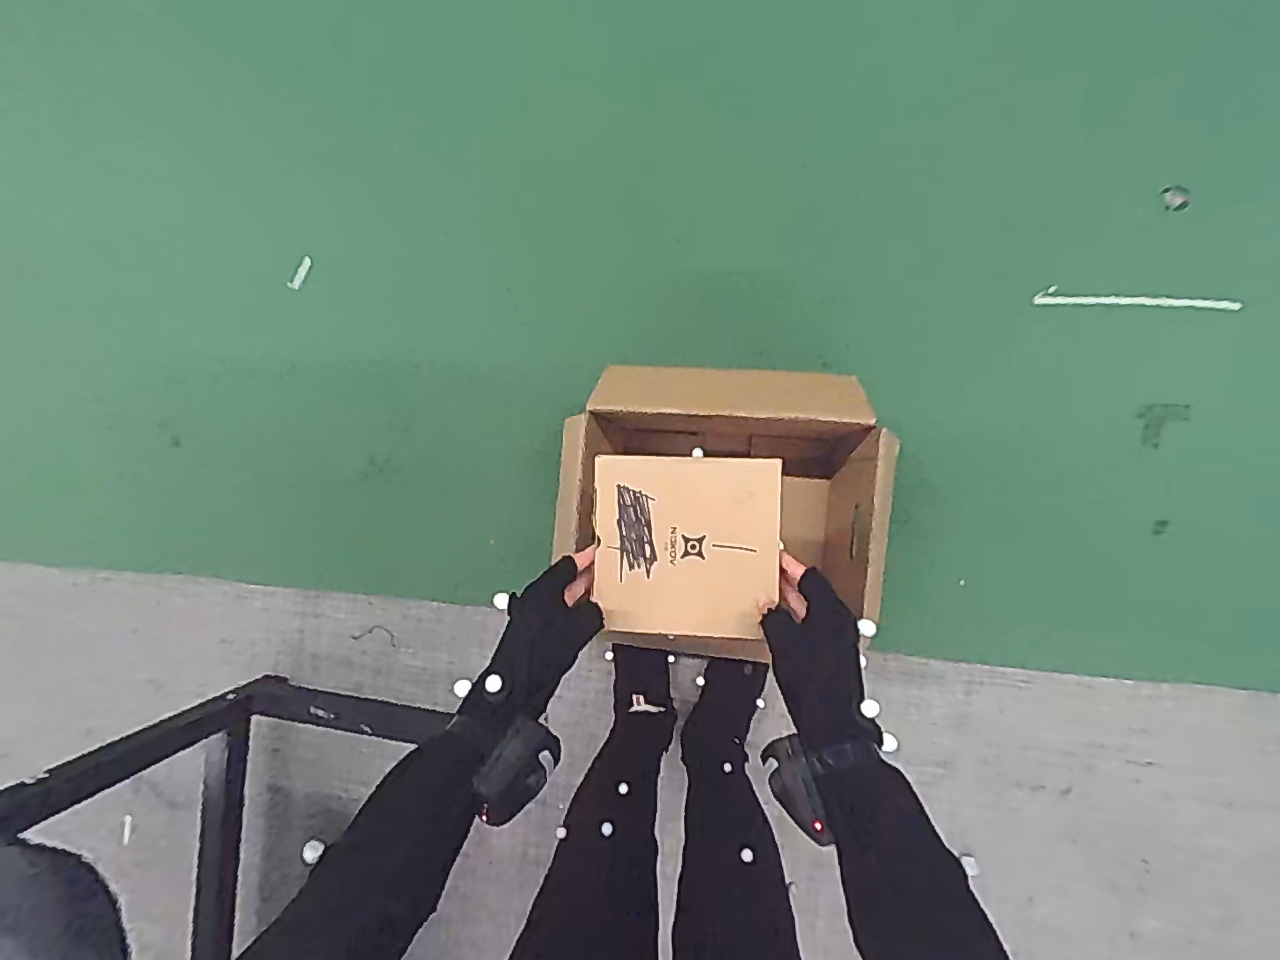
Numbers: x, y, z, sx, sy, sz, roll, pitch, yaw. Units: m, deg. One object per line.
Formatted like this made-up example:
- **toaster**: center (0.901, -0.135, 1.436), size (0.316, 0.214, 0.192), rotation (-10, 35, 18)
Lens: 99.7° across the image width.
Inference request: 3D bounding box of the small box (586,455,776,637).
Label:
- **small box**: center (0.048, 0.064, 0.586), size (0.179, 0.176, 0.168), rotation (1, 87, 7)
